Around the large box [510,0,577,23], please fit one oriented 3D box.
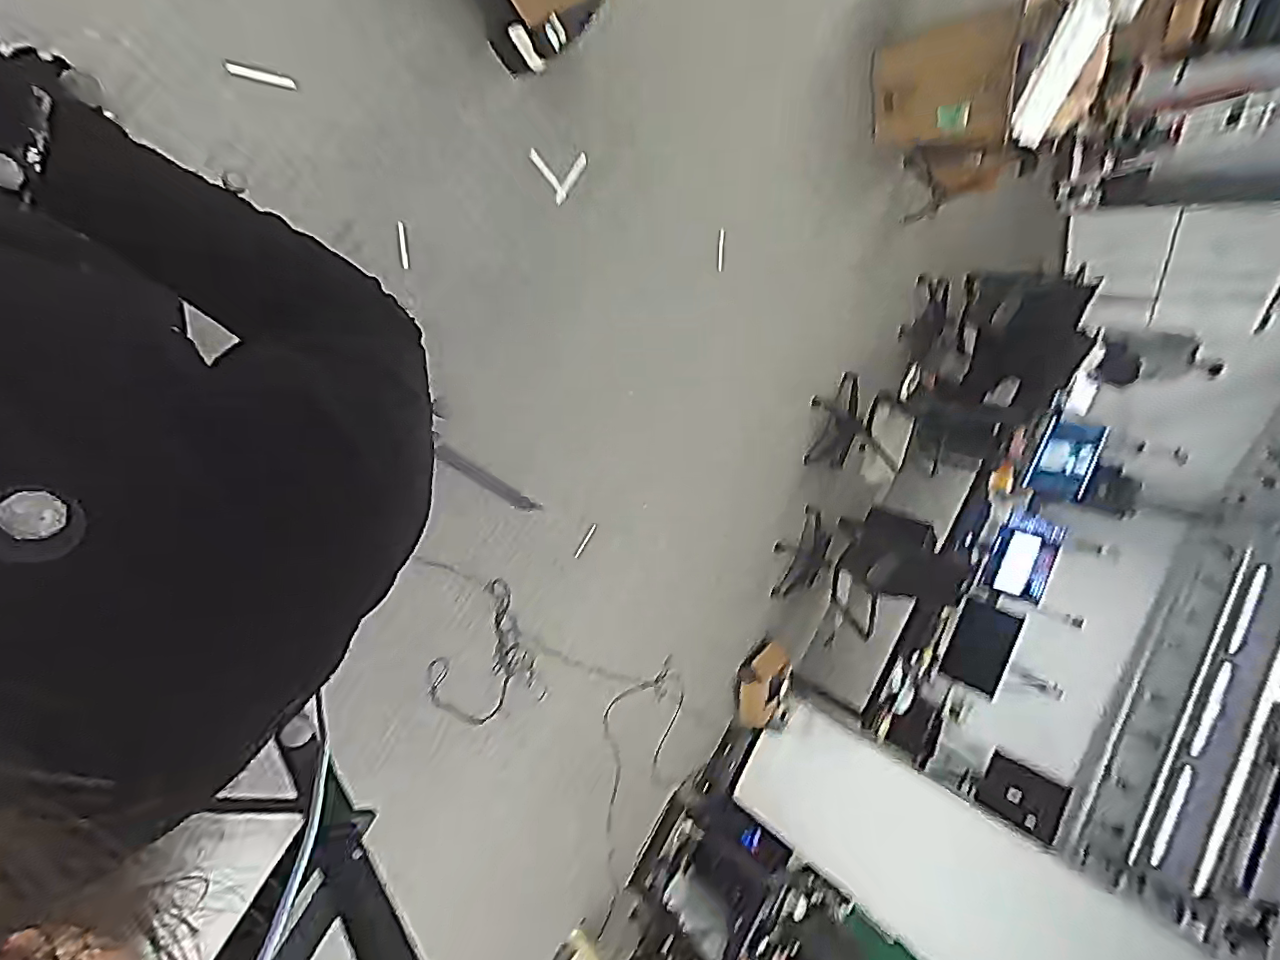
[{"bbox_3d":[-0.201,-1.228,1.035,0.408,0.320,0.320,36,79,-47],"label":"large box"}]
